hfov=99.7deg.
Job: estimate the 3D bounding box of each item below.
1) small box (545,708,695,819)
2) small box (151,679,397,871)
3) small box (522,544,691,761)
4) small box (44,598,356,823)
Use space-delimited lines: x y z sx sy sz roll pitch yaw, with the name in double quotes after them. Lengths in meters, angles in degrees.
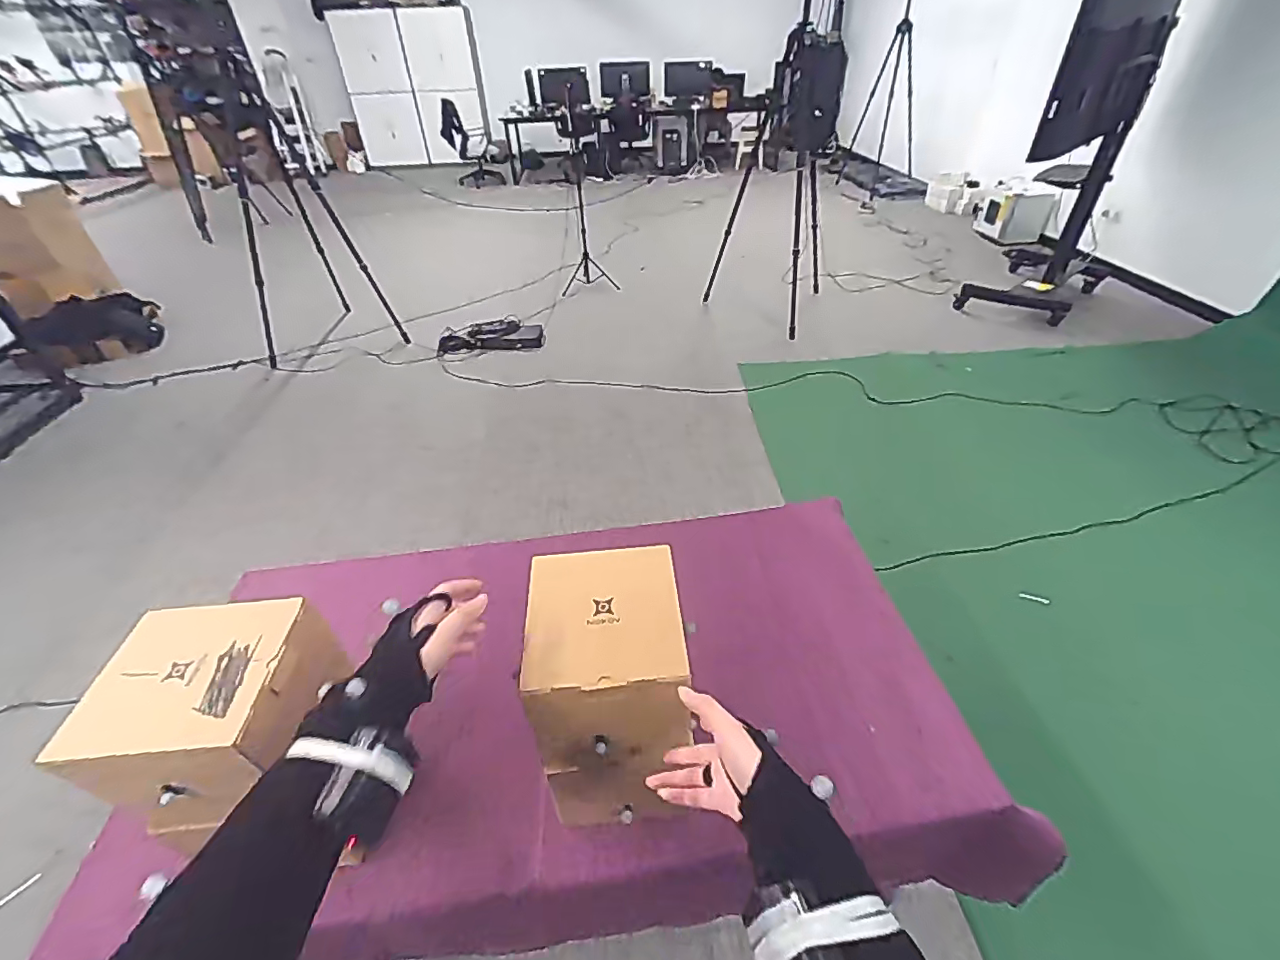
-0.028 0.332 0.730 0.179 0.176 0.168 -5 39 -3 "small box"
-0.445 0.380 0.696 0.179 0.176 0.168 -4 40 -2 "small box"
-0.036 0.200 0.634 0.168 0.176 0.179 -5 41 -2 "small box"
-0.446 0.252 0.593 0.179 0.176 0.168 -5 41 -2 "small box"
